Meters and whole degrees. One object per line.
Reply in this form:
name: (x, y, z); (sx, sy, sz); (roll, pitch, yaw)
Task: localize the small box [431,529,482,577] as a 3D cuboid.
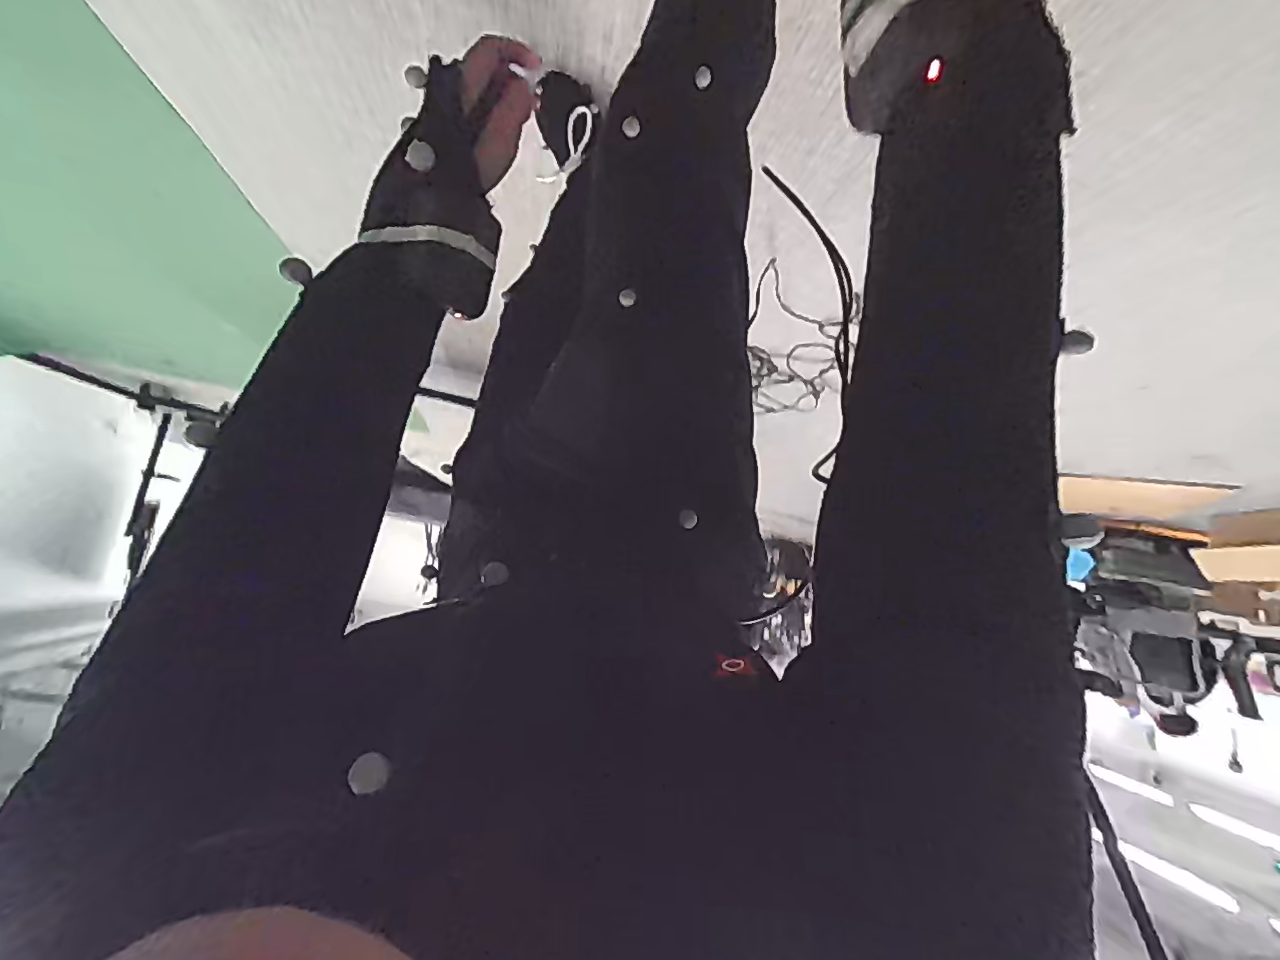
small box: (-0.760, 0.304, 2.254); (0.168, 0.176, 0.179); (11, 170, -12)
